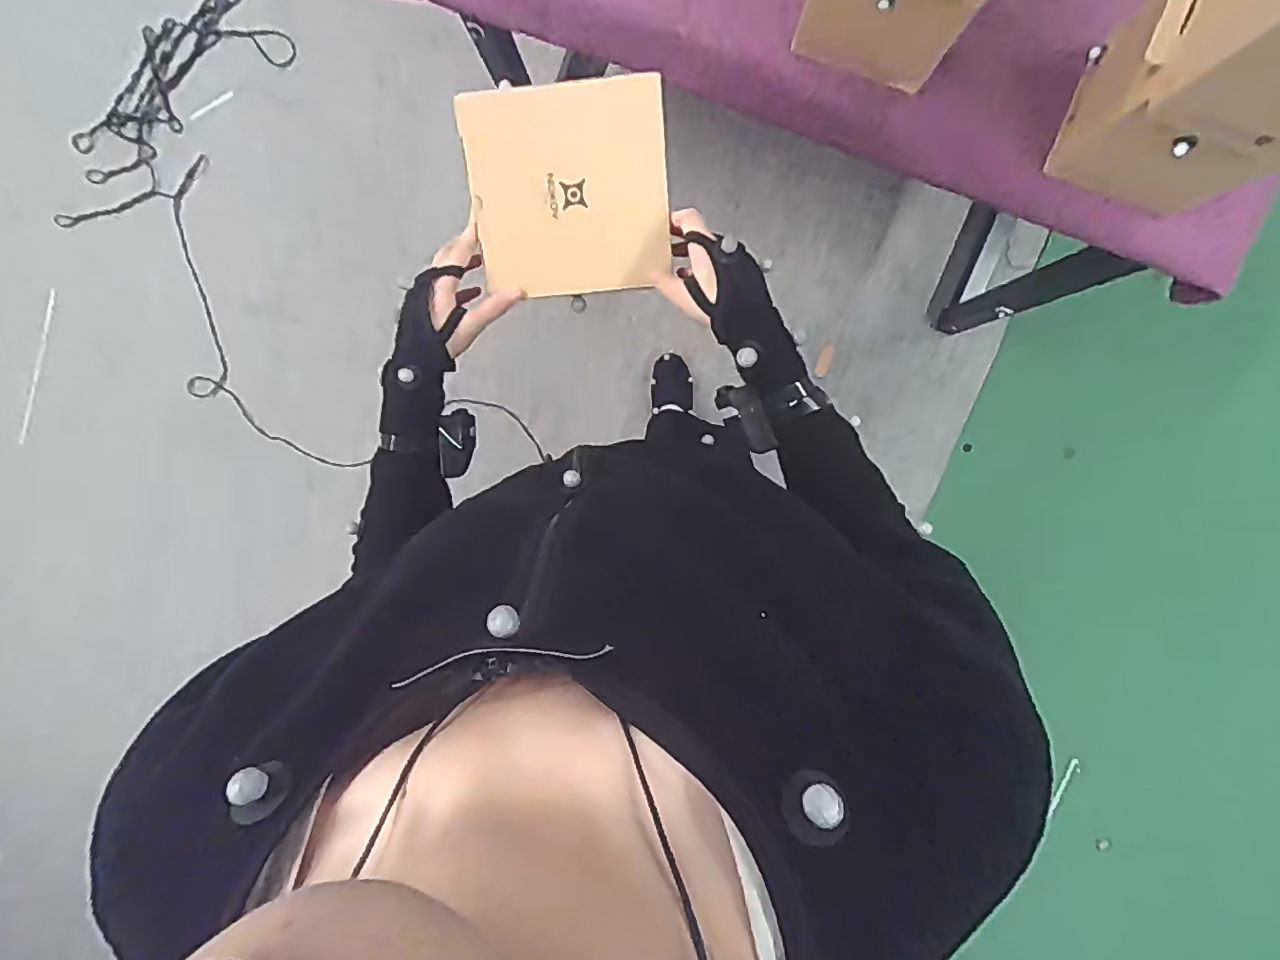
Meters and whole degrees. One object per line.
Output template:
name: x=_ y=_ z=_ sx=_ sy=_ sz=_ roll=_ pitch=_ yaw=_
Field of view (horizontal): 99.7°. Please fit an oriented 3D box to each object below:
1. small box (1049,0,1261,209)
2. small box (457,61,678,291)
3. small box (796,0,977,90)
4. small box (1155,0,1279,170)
small box: x=0.623 y=-0.438 z=0.612 sx=0.179 sy=0.176 sz=0.168 roll=20 pitch=97 yaw=1
small box: x=-0.057 y=-0.287 z=0.544 sx=0.179 sy=0.176 sz=0.168 roll=-4 pitch=111 yaw=4
small box: x=0.301 y=-0.597 z=0.618 sx=0.179 sy=0.176 sz=0.168 roll=22 pitch=96 yaw=1
small box: x=0.605 y=-0.406 z=0.451 sx=0.168 sy=0.176 sz=0.179 roll=23 pitch=96 yaw=2
